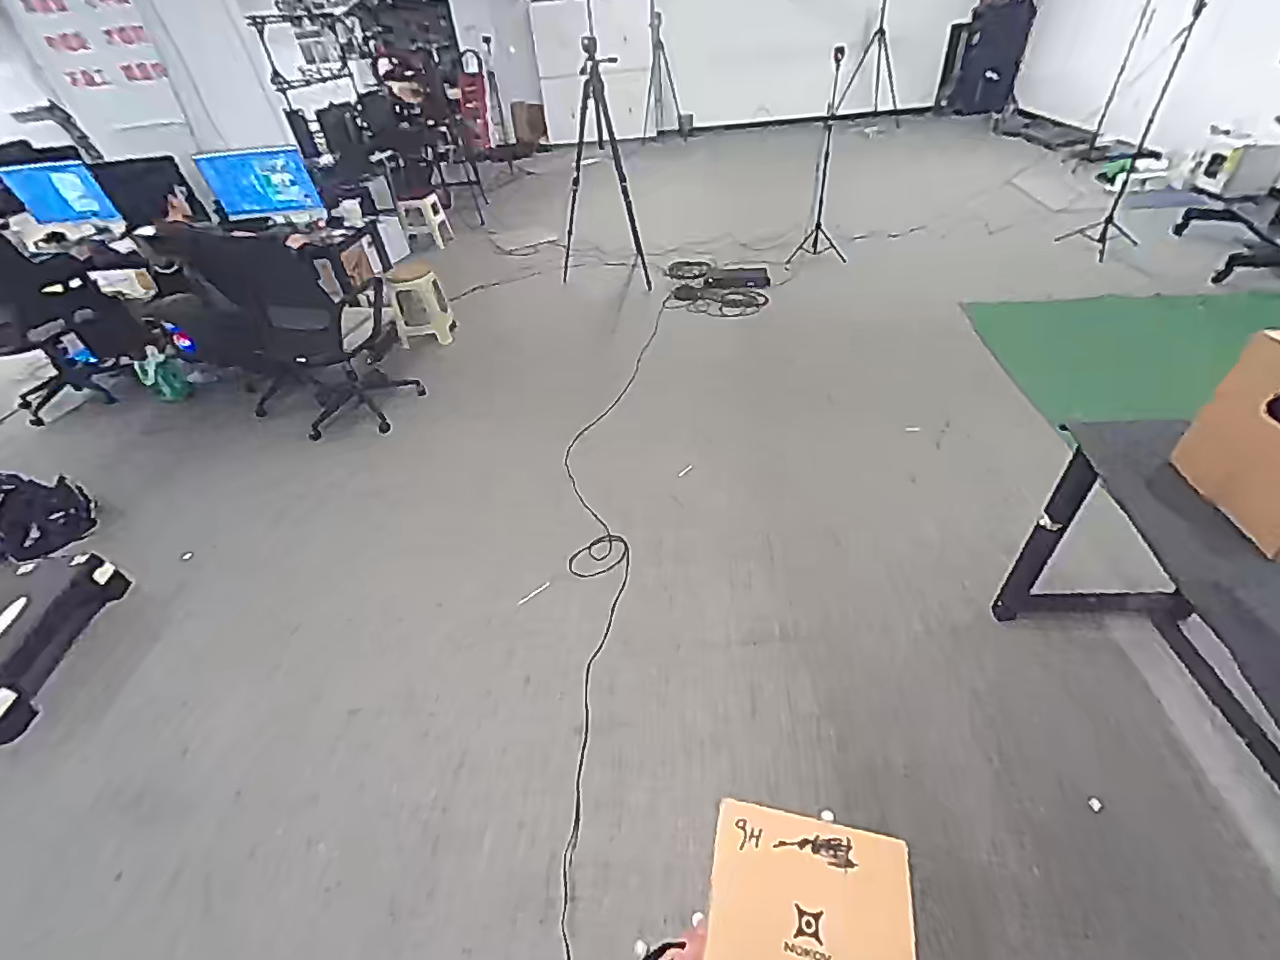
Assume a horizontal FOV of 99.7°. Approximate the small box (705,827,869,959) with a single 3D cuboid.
[{"bbox_3d":[0.164,0.536,0.626,0.168,0.176,0.179,3,45,12],"label":"small box"}]
